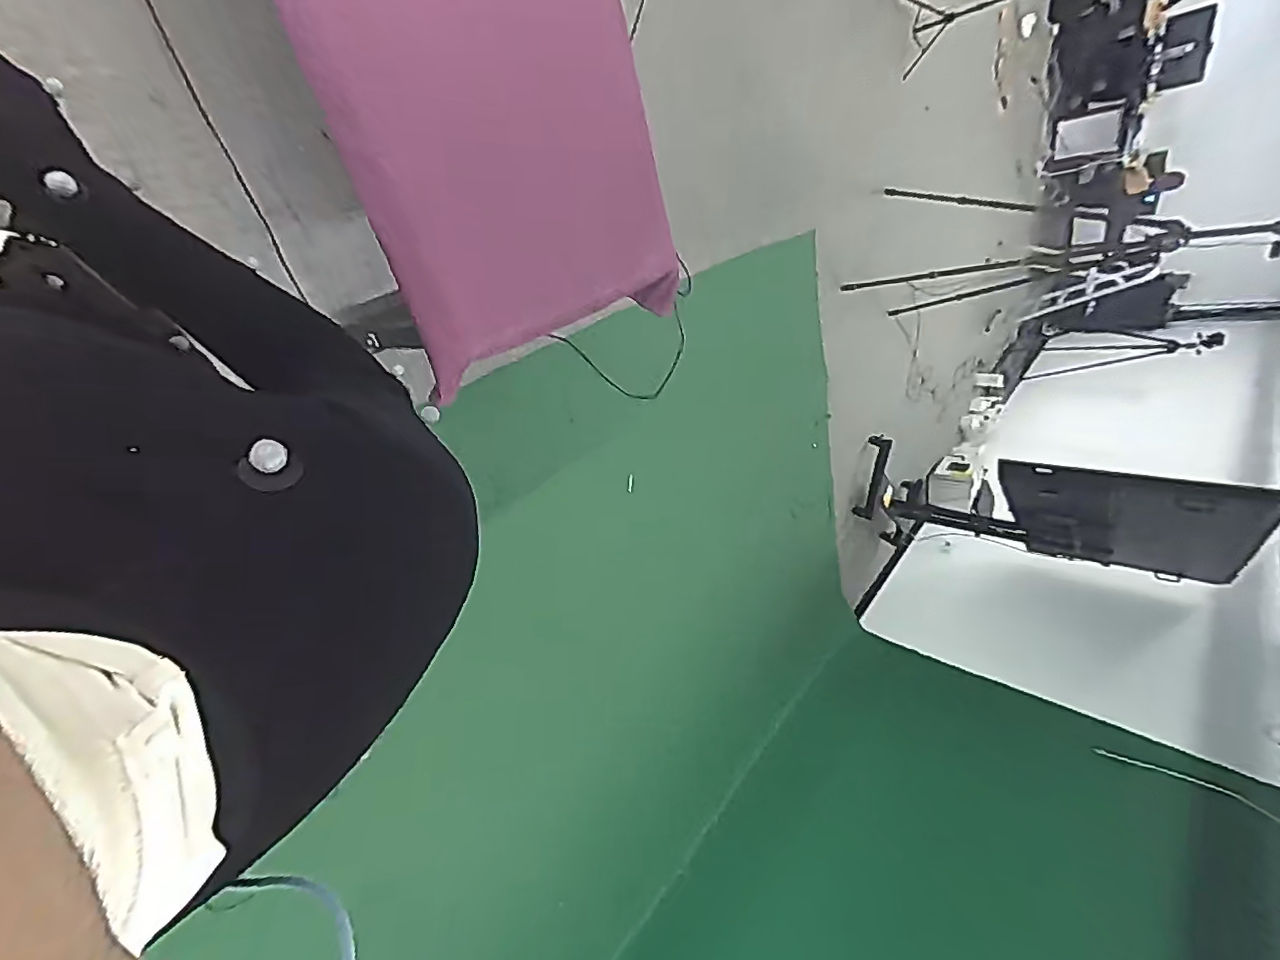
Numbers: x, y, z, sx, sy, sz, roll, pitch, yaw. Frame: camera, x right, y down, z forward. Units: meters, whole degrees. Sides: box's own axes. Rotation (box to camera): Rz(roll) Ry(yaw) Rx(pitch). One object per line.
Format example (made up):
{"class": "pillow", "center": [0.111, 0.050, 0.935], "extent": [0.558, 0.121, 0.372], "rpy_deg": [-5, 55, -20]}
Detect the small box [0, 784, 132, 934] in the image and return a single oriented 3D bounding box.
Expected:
{"class": "small box", "center": [-1.253, 0.807, 1.169], "extent": [0.168, 0.176, 0.179], "rpy_deg": [-36, 123, -35]}
